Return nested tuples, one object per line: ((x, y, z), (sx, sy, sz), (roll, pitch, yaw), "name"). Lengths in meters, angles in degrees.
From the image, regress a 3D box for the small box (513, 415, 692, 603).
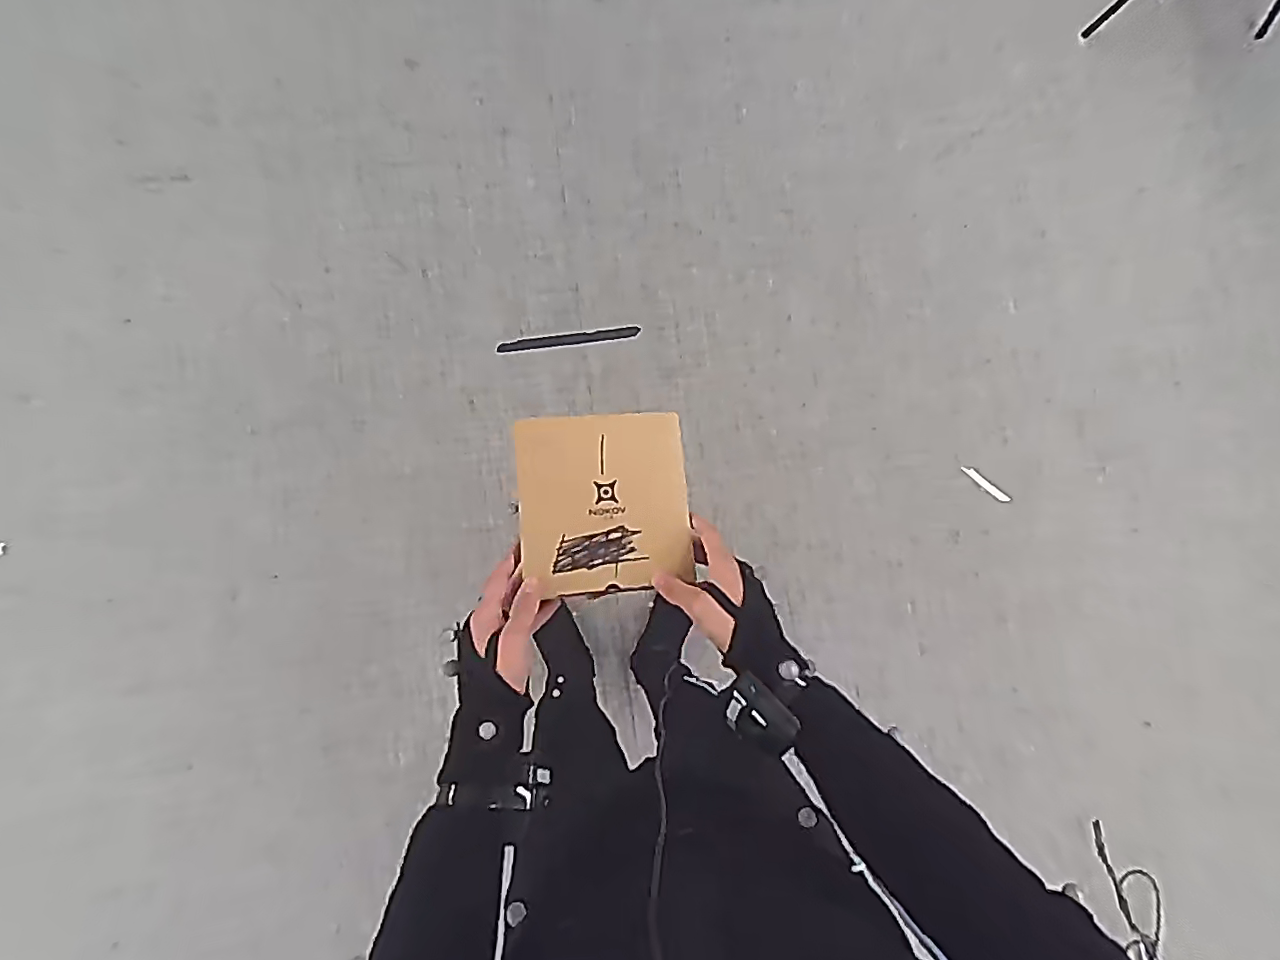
((-0.049, 0.038, 0.597), (0.168, 0.176, 0.179), (-3, 79, -11), "small box")
